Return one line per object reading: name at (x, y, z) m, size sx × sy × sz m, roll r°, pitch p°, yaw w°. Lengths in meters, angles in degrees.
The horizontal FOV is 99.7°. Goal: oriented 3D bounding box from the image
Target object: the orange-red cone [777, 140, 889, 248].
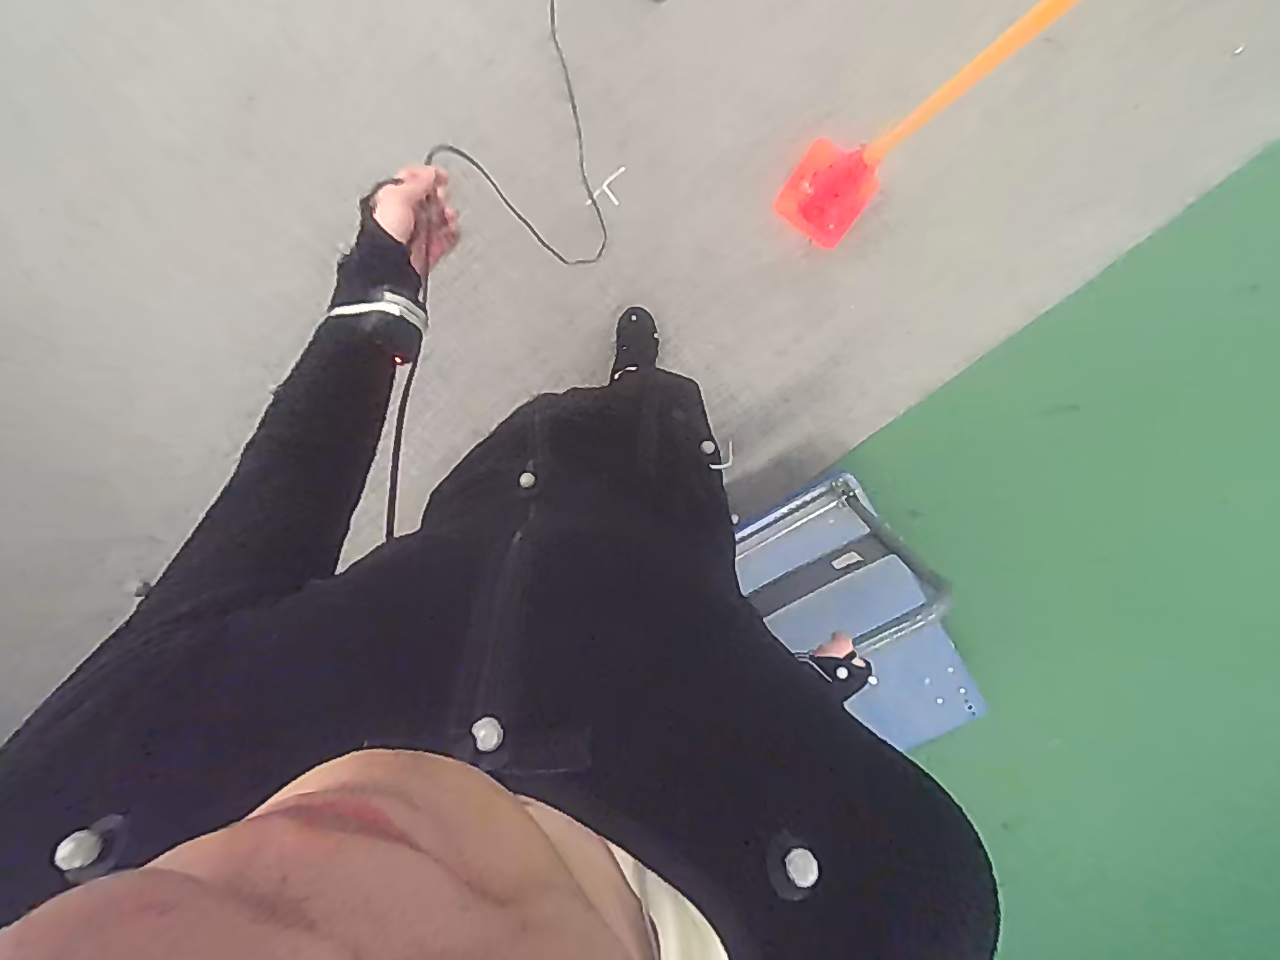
orange-red cone at (0.469, -0.677, 1.209) m, size 0.198 × 0.360 × 0.199 m, roll 35°, pitch 104°, yaw -7°
